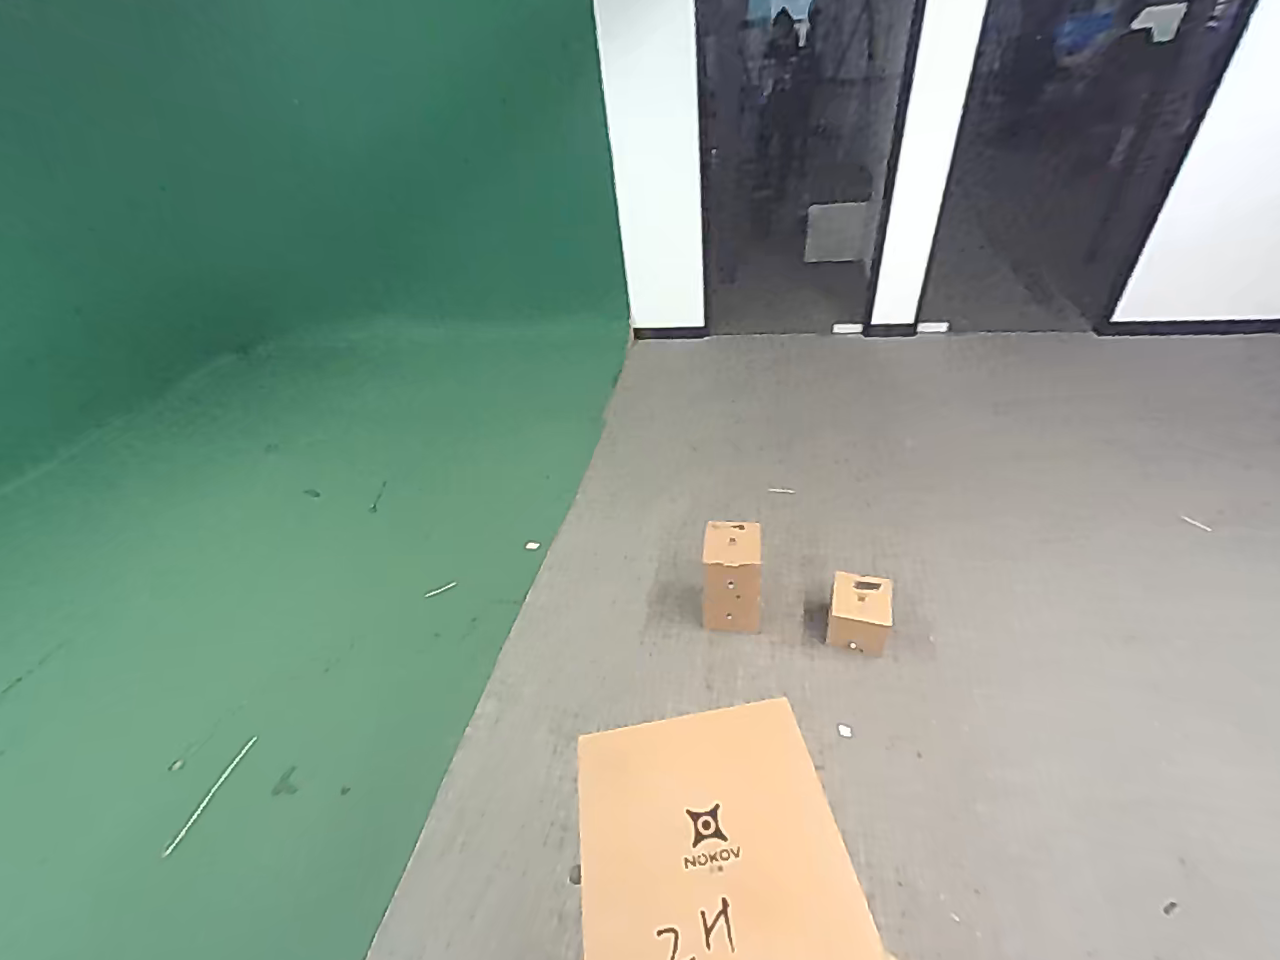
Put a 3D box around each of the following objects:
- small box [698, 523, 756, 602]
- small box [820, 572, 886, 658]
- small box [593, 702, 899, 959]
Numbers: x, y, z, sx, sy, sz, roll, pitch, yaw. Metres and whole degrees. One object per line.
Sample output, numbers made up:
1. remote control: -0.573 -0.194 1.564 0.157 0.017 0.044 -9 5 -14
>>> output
1. small box: 0.269 0.254 1.659 0.168 0.176 0.179 2 41 11
2. small box: 0.655 0.414 1.666 0.168 0.176 0.179 8 43 17
3. small box: 0.061 0.296 0.391 0.168 0.176 0.179 -10 35 -1
